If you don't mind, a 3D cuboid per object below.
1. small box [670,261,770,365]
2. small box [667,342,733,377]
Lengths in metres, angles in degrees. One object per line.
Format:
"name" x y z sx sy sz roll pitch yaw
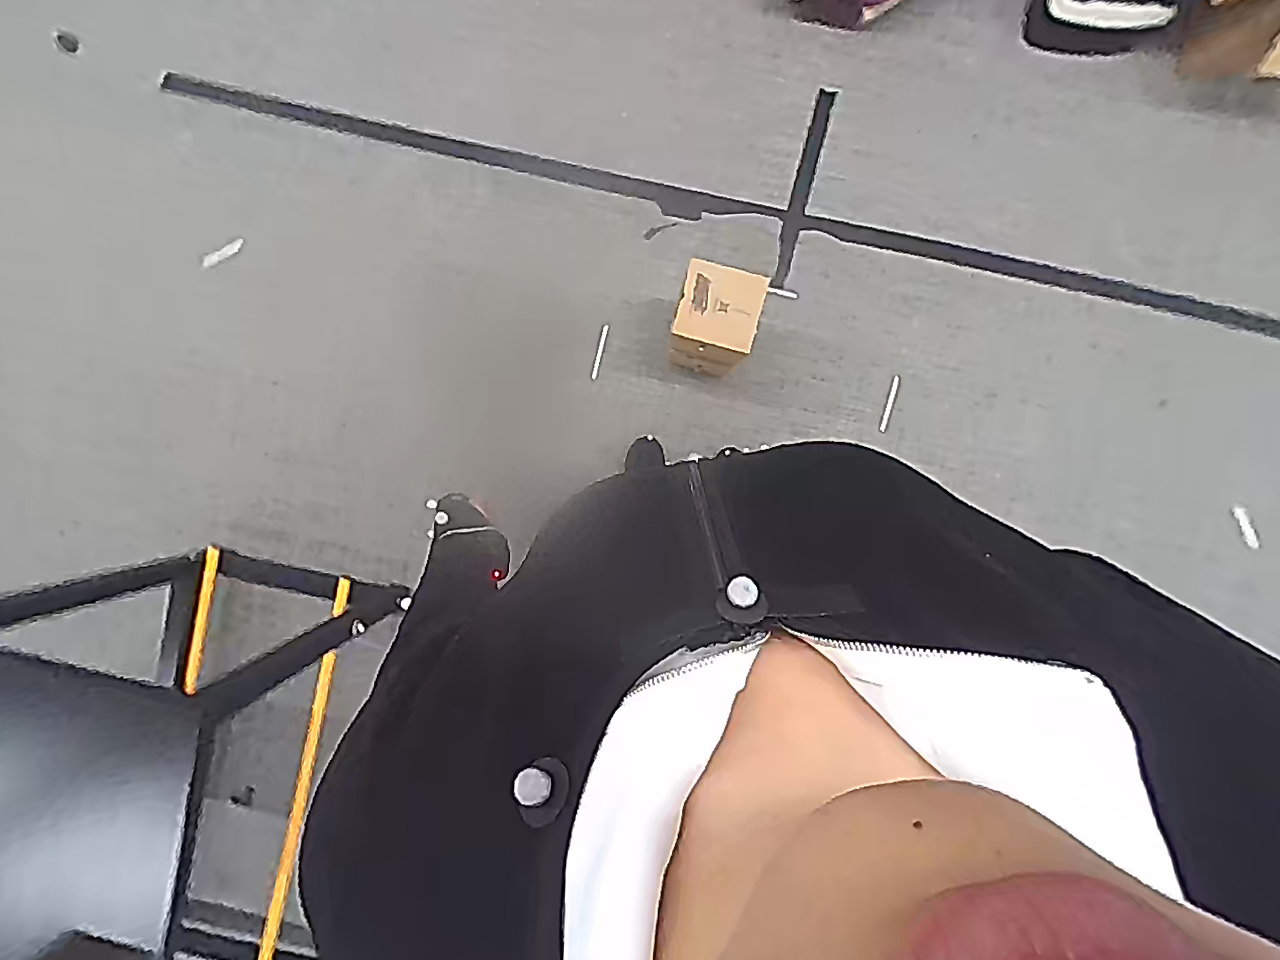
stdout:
"small box" 0.171 -0.366 1.219 0.179 0.176 0.168 16 94 0
"small box" 0.173 -0.371 1.385 0.168 0.176 0.179 16 95 1
